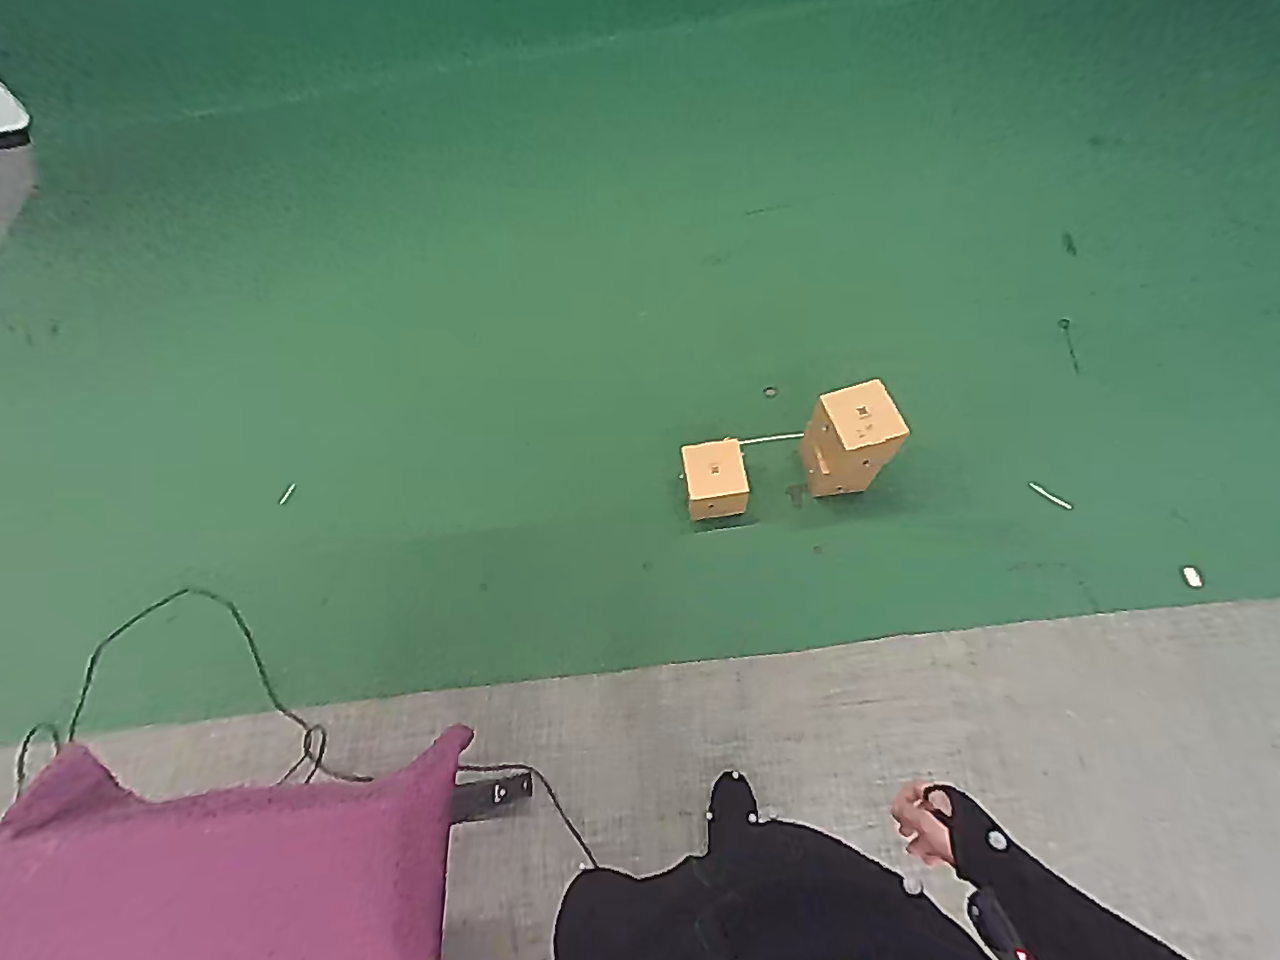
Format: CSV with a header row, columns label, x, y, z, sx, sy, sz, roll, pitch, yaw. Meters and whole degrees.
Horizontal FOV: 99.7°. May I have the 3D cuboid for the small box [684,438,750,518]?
label,x,y,z,sx,sy,sz,roll,pitch,yaw
small box,0.226,0.002,1.603,0.168,0.176,0.179,-9,63,3

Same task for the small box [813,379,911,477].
label,x,y,z,sx,sy,sz,roll,pitch,yaw
small box,0.578,-0.135,1.440,0.168,0.176,0.179,-17,64,0
